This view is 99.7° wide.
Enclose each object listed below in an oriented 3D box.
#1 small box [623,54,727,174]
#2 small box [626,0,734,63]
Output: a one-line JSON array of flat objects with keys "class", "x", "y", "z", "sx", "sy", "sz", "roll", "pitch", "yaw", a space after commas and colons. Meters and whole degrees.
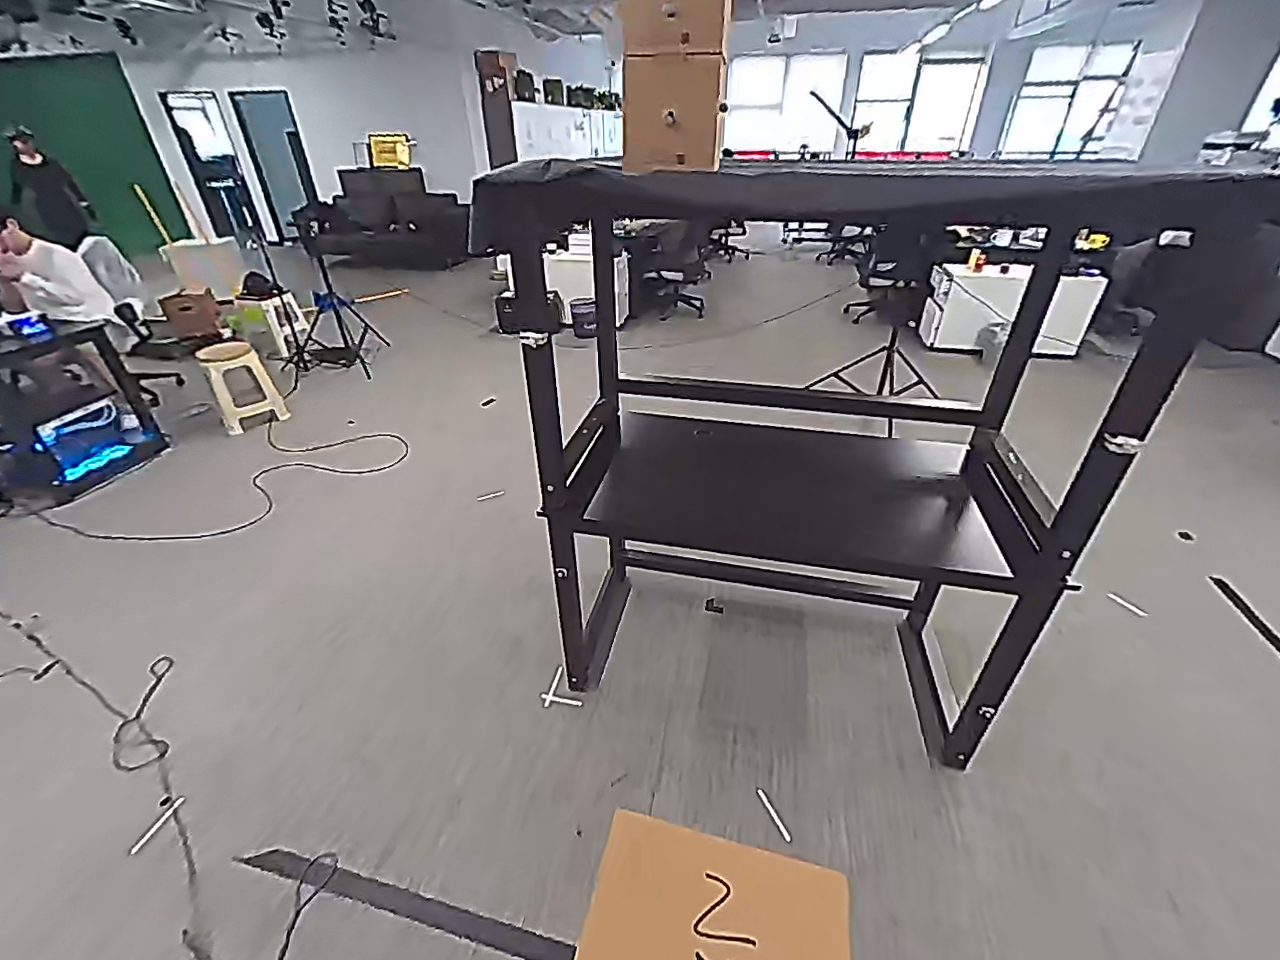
[{"class": "small box", "x": 0.067, "y": -0.654, "z": 0.980, "sx": 0.168, "sy": 0.176, "sz": 0.179, "roll": 5, "pitch": 32, "yaw": 7}, {"class": "small box", "x": 0.069, "y": -0.796, "z": 0.896, "sx": 0.168, "sy": 0.176, "sz": 0.179, "roll": 4, "pitch": 32, "yaw": 9}]
